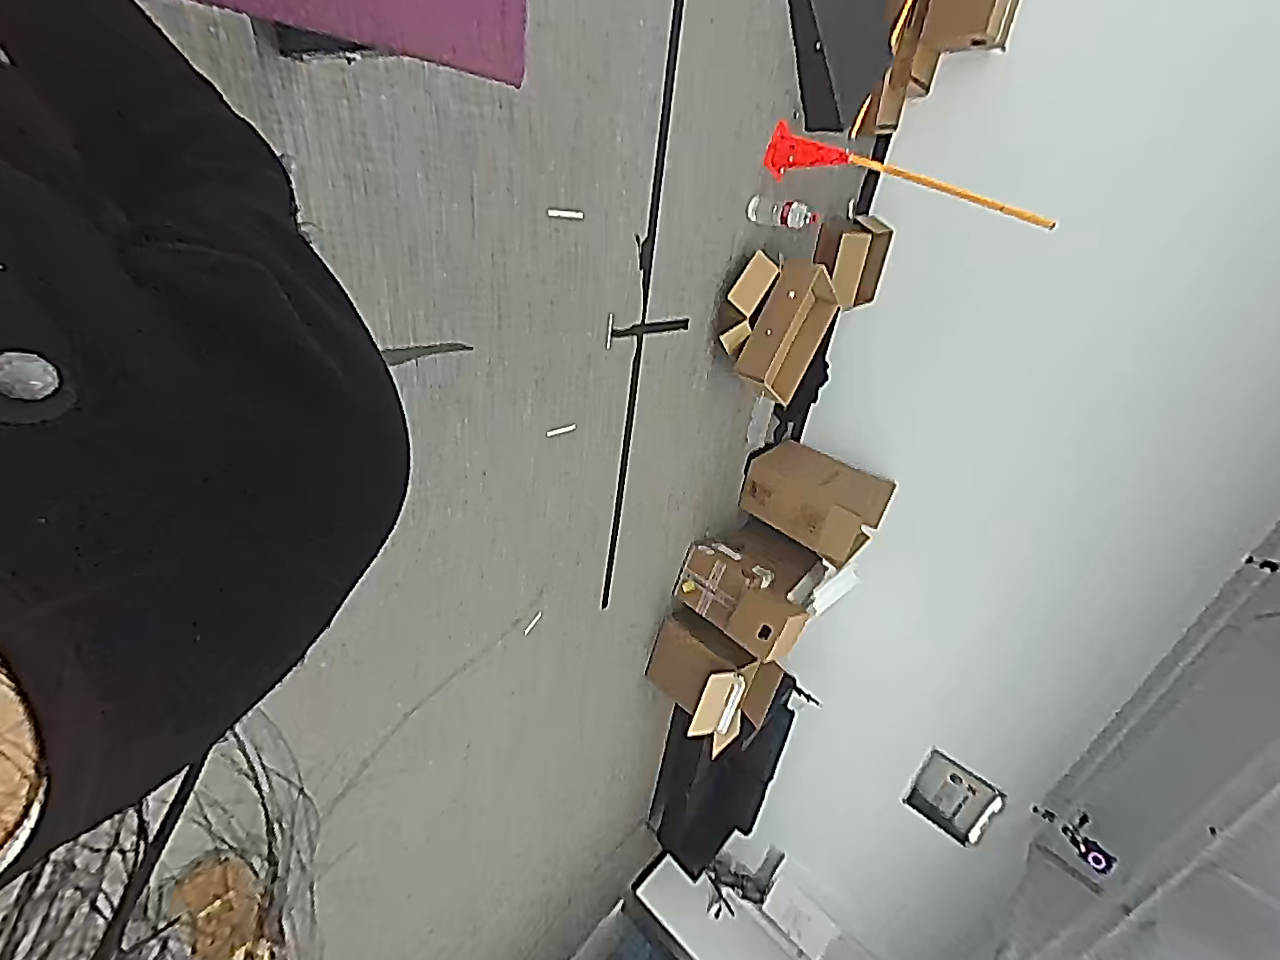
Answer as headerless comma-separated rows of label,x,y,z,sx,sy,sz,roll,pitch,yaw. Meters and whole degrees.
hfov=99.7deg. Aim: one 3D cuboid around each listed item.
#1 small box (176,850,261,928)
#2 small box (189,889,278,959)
small box,-1.401,1.382,1.796,0.168,0.176,0.179,-25,134,-42
small box,-1.283,1.450,1.708,0.168,0.176,0.179,-25,134,-41
